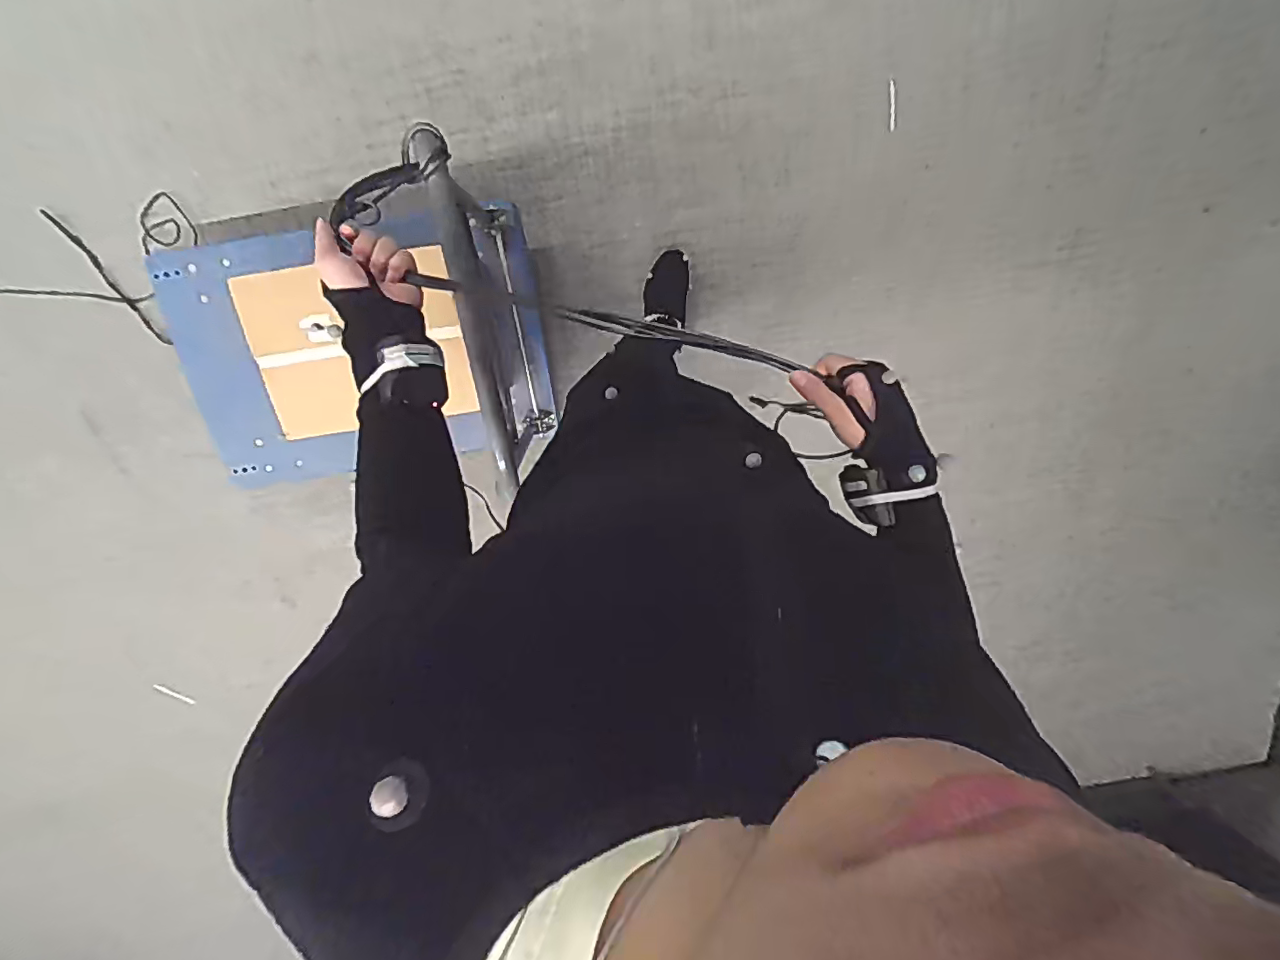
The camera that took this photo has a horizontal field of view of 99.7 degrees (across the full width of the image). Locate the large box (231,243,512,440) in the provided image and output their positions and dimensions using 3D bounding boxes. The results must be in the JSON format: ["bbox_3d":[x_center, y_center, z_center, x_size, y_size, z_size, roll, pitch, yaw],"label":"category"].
[{"bbox_3d":[-0.532,-0.301,1.168,0.408,0.320,0.320,-9,107,1],"label":"large box"}]
